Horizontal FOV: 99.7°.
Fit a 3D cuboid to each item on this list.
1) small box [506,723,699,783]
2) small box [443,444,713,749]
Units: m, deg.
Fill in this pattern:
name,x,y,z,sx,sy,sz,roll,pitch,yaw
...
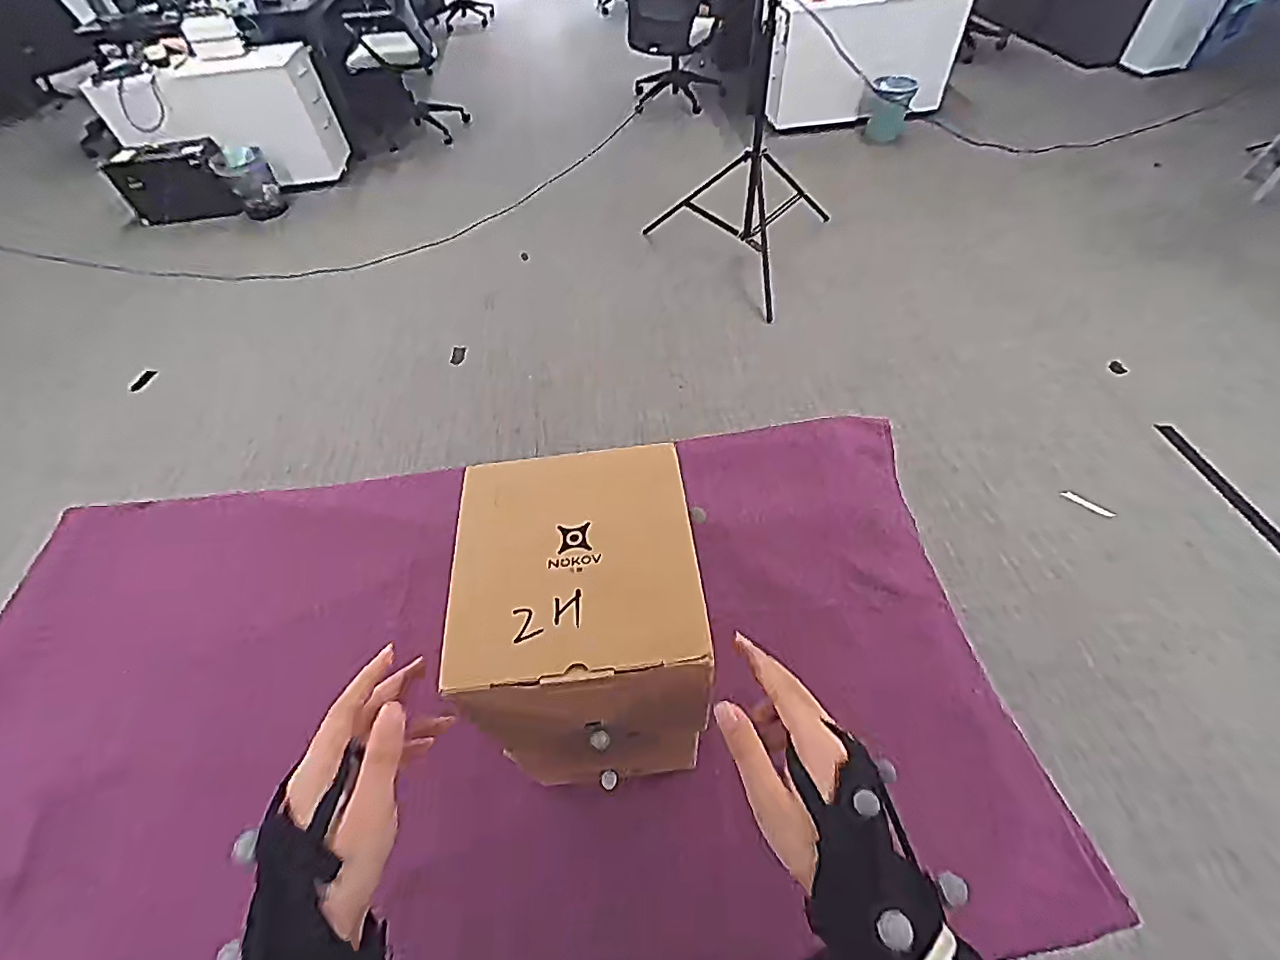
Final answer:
name,x,y,z,sx,sy,sz,roll,pitch,yaw
small box,-0.034,0.199,0.567,0.168,0.176,0.179,-6,52,-1
small box,-0.039,0.096,0.436,0.168,0.176,0.179,-7,51,0
